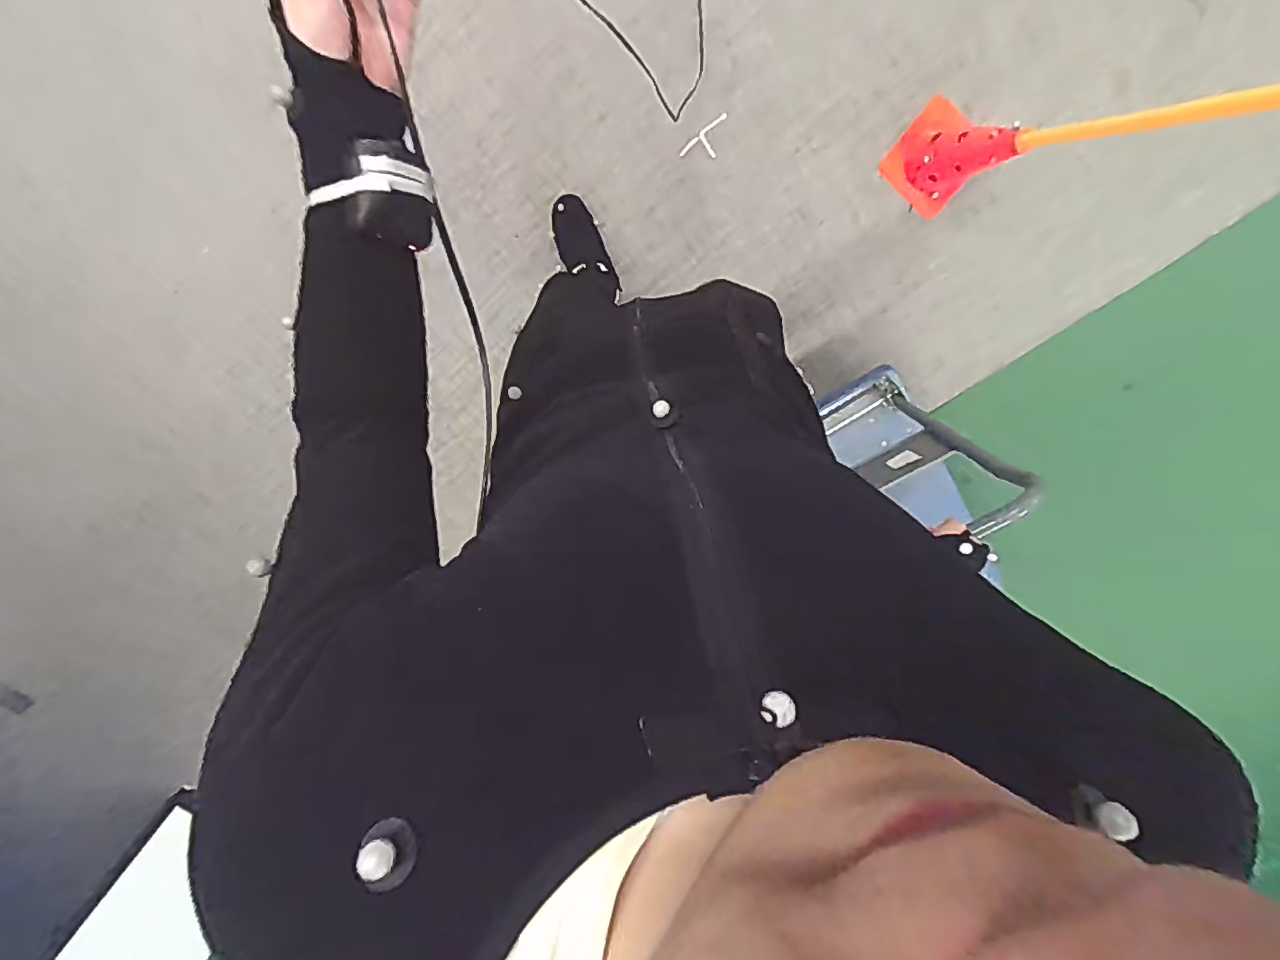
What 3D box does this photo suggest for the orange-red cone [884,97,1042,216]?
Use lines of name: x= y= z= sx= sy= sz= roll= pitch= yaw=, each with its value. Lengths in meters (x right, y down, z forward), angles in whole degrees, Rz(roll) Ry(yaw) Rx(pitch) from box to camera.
orange-red cone: x=0.720 y=-0.704 z=1.153 sx=0.198 sy=0.360 sz=0.199 roll=34 pitch=110 yaw=-16
